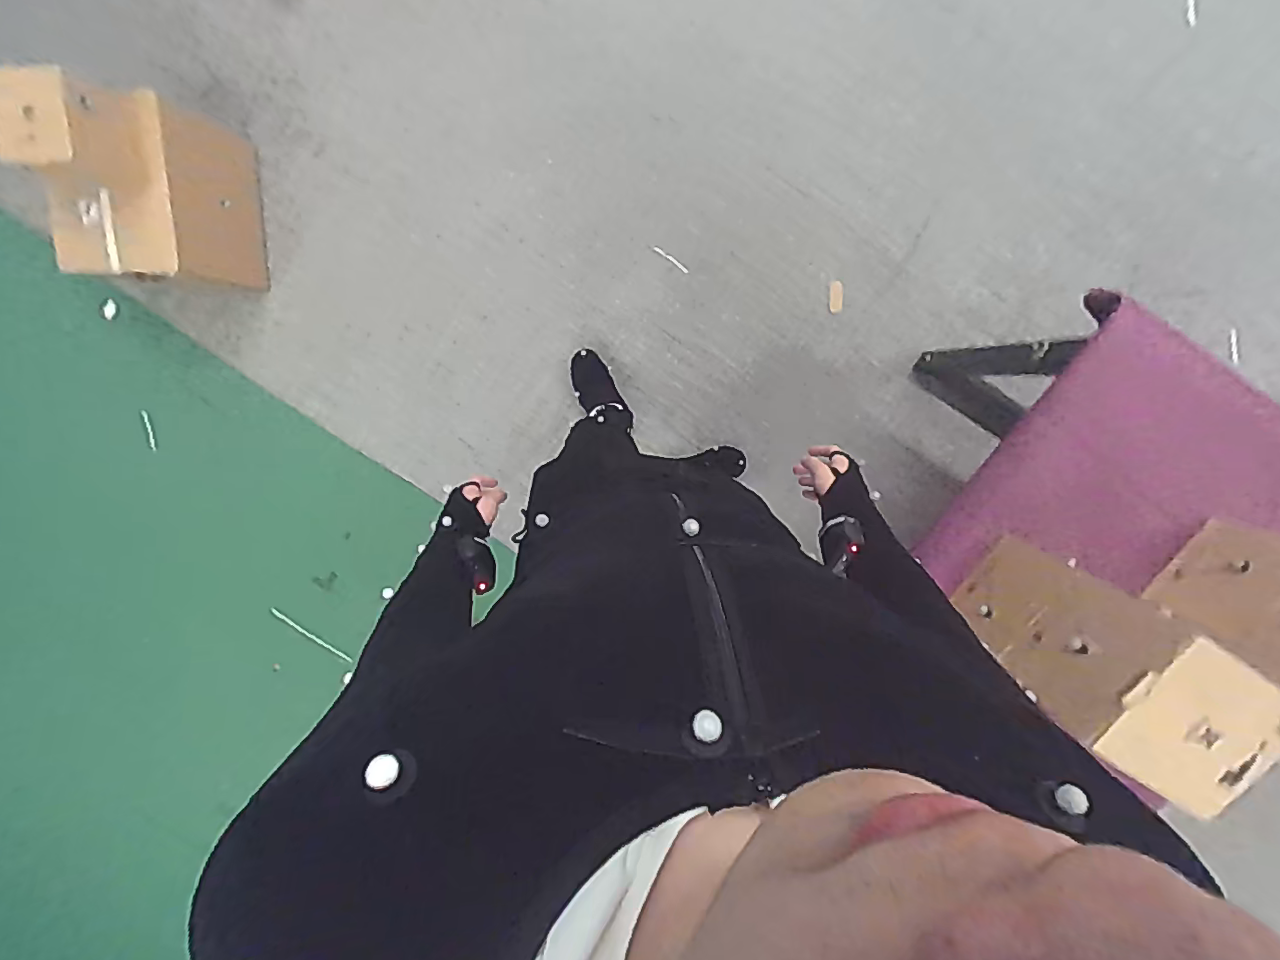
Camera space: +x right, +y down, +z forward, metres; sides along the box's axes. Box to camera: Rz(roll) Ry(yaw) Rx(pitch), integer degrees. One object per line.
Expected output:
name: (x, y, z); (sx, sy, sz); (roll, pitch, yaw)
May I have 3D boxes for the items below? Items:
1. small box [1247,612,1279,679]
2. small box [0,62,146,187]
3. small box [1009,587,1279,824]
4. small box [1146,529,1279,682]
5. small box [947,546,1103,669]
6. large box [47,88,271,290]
small box: (0.911, 0.227, 0.631); (0.179, 0.176, 0.168); (37, 100, -3)
small box: (-1.222, -0.756, 1.161); (0.168, 0.176, 0.179); (2, 101, 2)
small box: (0.607, 0.253, 0.654); (0.179, 0.176, 0.168); (34, 102, -3)
small box: (0.922, 0.189, 0.791); (0.179, 0.176, 0.168); (32, 101, -3)
small box: (0.613, 0.219, 0.814); (0.179, 0.176, 0.168); (34, 101, -5)
large box: (-1.242, -0.732, 1.419); (0.320, 0.320, 0.408); (2, 102, 4)
